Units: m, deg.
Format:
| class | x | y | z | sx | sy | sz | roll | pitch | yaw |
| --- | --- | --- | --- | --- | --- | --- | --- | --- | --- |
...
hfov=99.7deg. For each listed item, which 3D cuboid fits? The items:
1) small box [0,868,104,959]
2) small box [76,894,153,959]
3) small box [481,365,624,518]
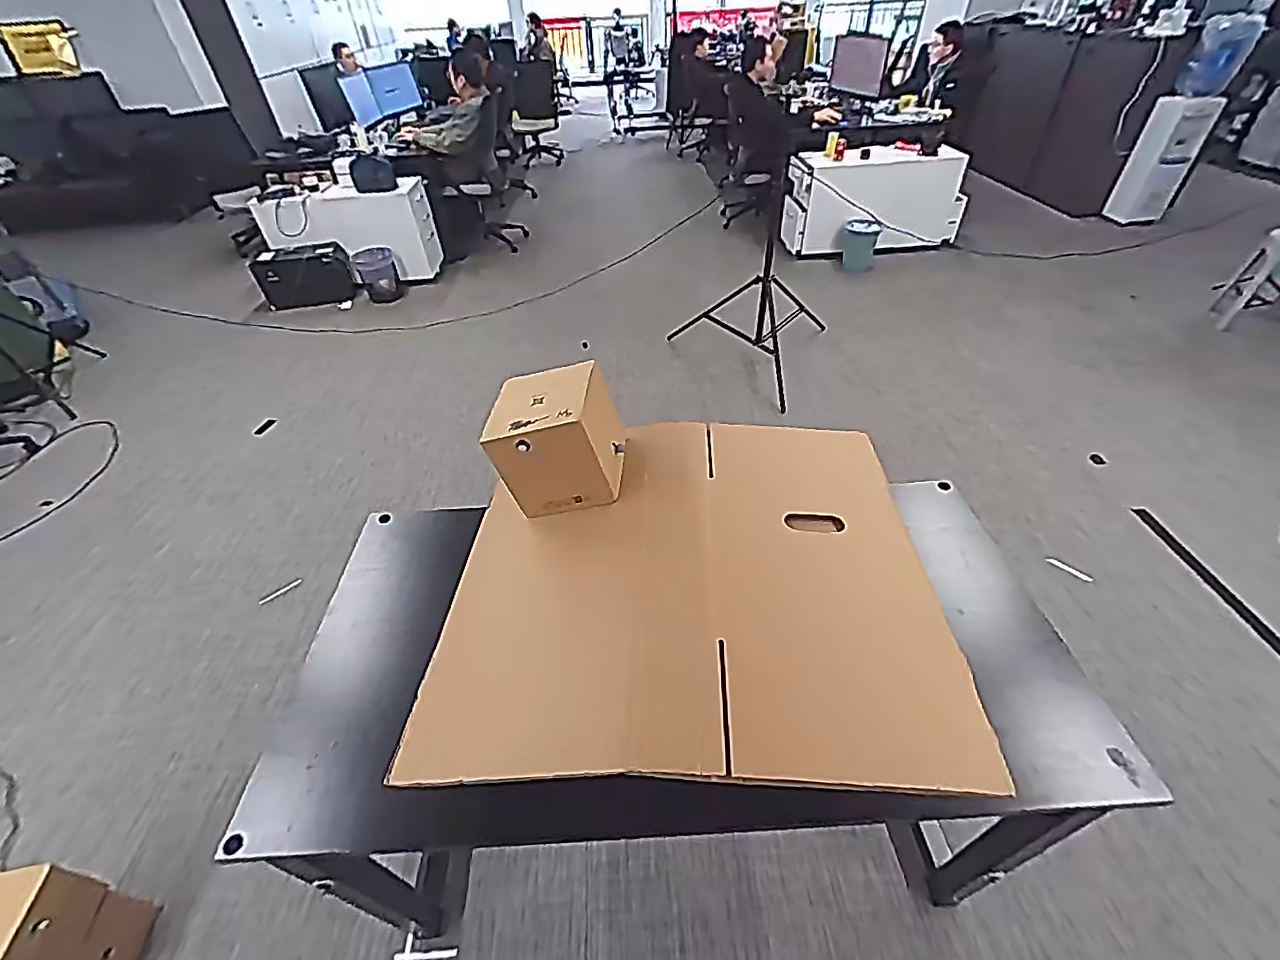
| class | x | y | z | sx | sy | sz | roll | pitch | yaw |
| --- | --- | --- | --- | --- | --- | --- | --- | --- | --- |
| small box | -1.181 | 0.866 | 1.011 | 0.168 | 0.176 | 0.179 | -8 | 41 | -6 |
| small box | -1.171 | 0.990 | 1.115 | 0.168 | 0.176 | 0.179 | -6 | 43 | -3 |
| small box | -0.131 | -0.062 | 0.897 | 0.168 | 0.176 | 0.179 | -11 | 39 | 14 |
